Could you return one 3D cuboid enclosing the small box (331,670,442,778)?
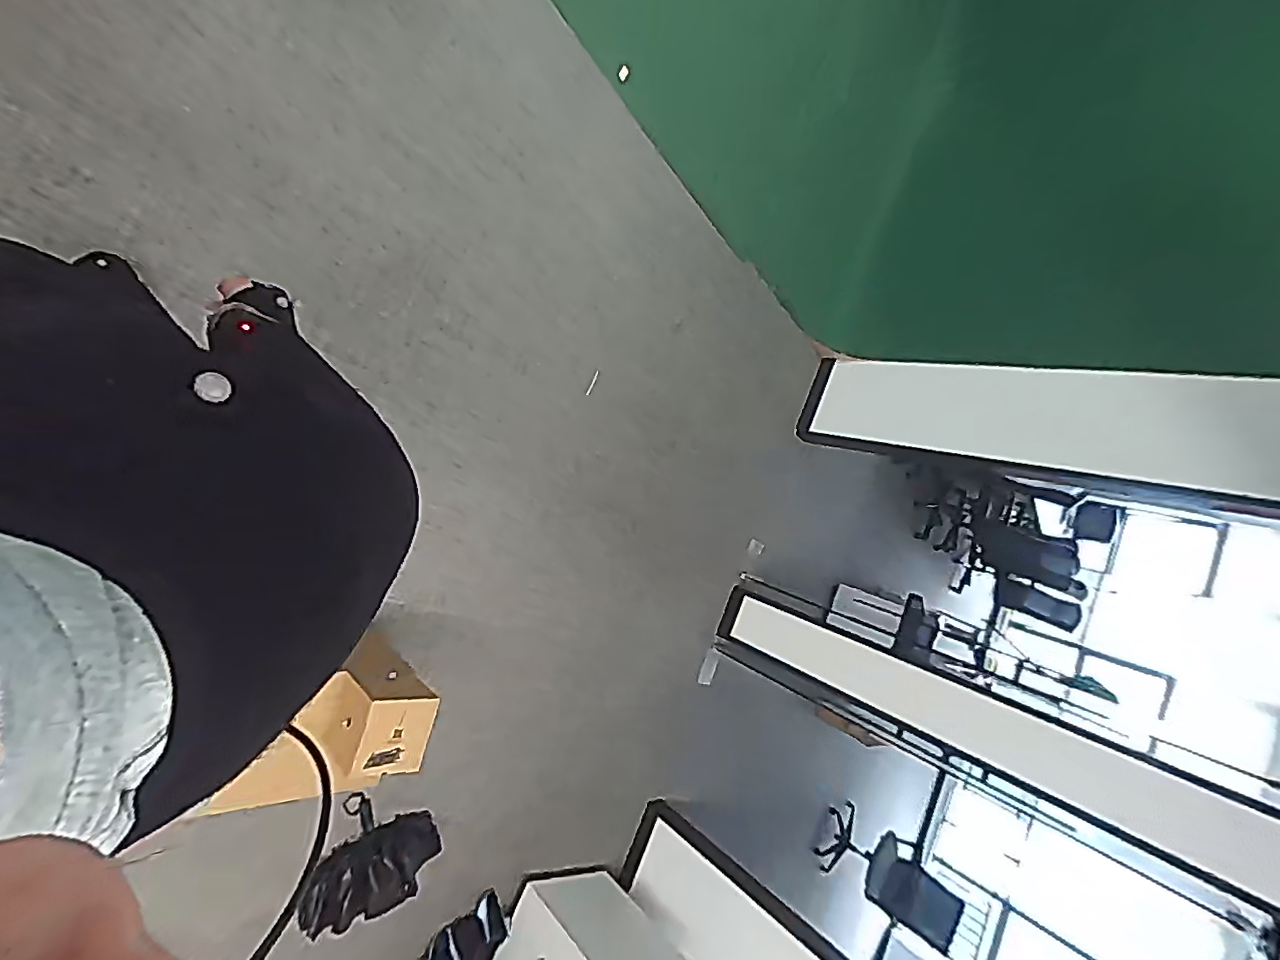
[{"bbox_3d":[-0.604,0.568,1.278,0.168,0.176,0.179,22,82,-46],"label":"small box"}]
